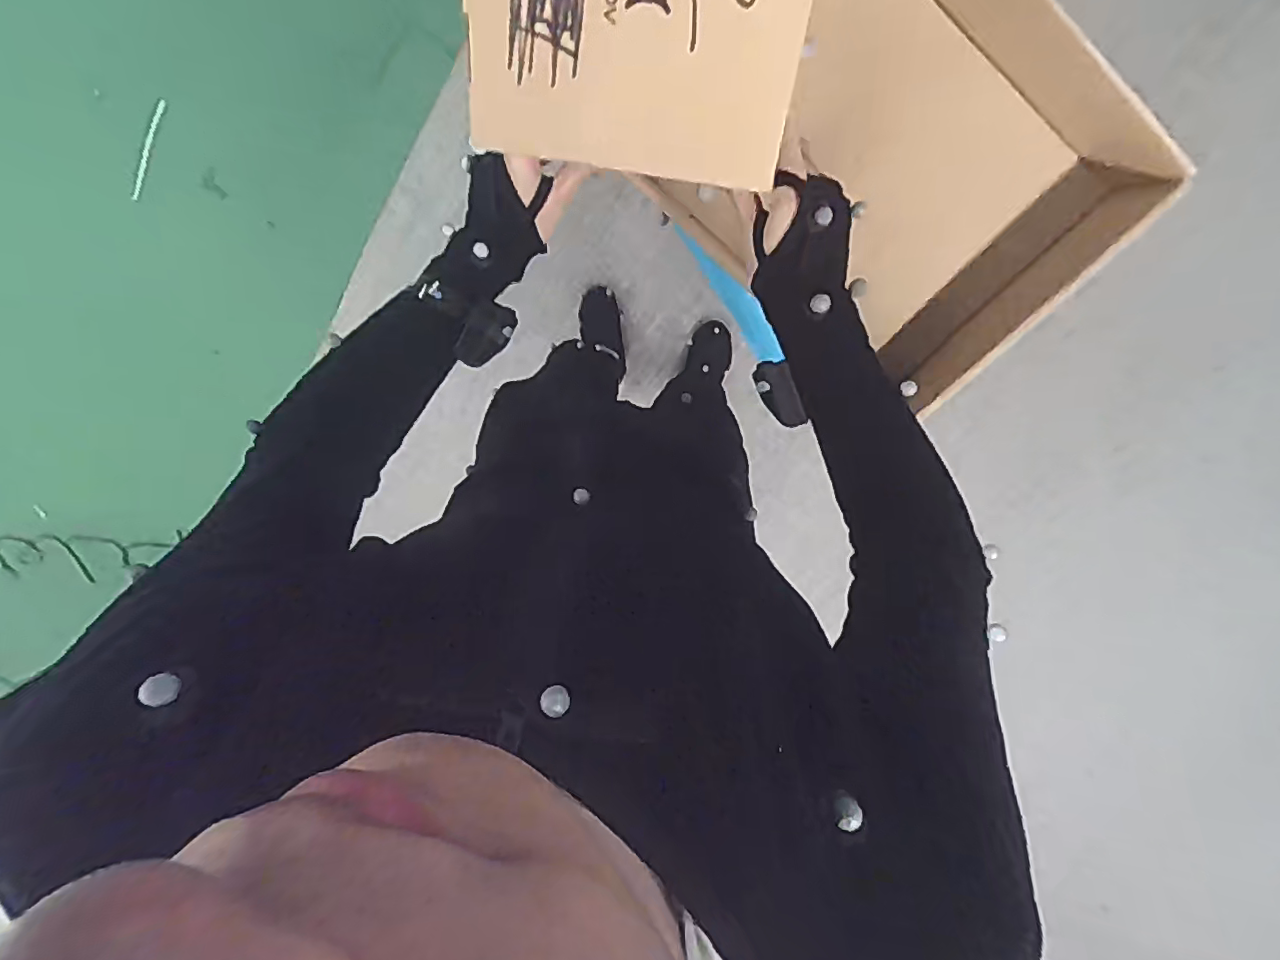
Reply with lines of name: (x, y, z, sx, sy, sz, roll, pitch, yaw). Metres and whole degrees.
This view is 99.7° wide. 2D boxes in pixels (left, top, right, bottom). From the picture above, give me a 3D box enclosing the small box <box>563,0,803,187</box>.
small box: (0.043, -0.367, 0.465, 0.168, 0.176, 0.179, 13, 123, 5)
